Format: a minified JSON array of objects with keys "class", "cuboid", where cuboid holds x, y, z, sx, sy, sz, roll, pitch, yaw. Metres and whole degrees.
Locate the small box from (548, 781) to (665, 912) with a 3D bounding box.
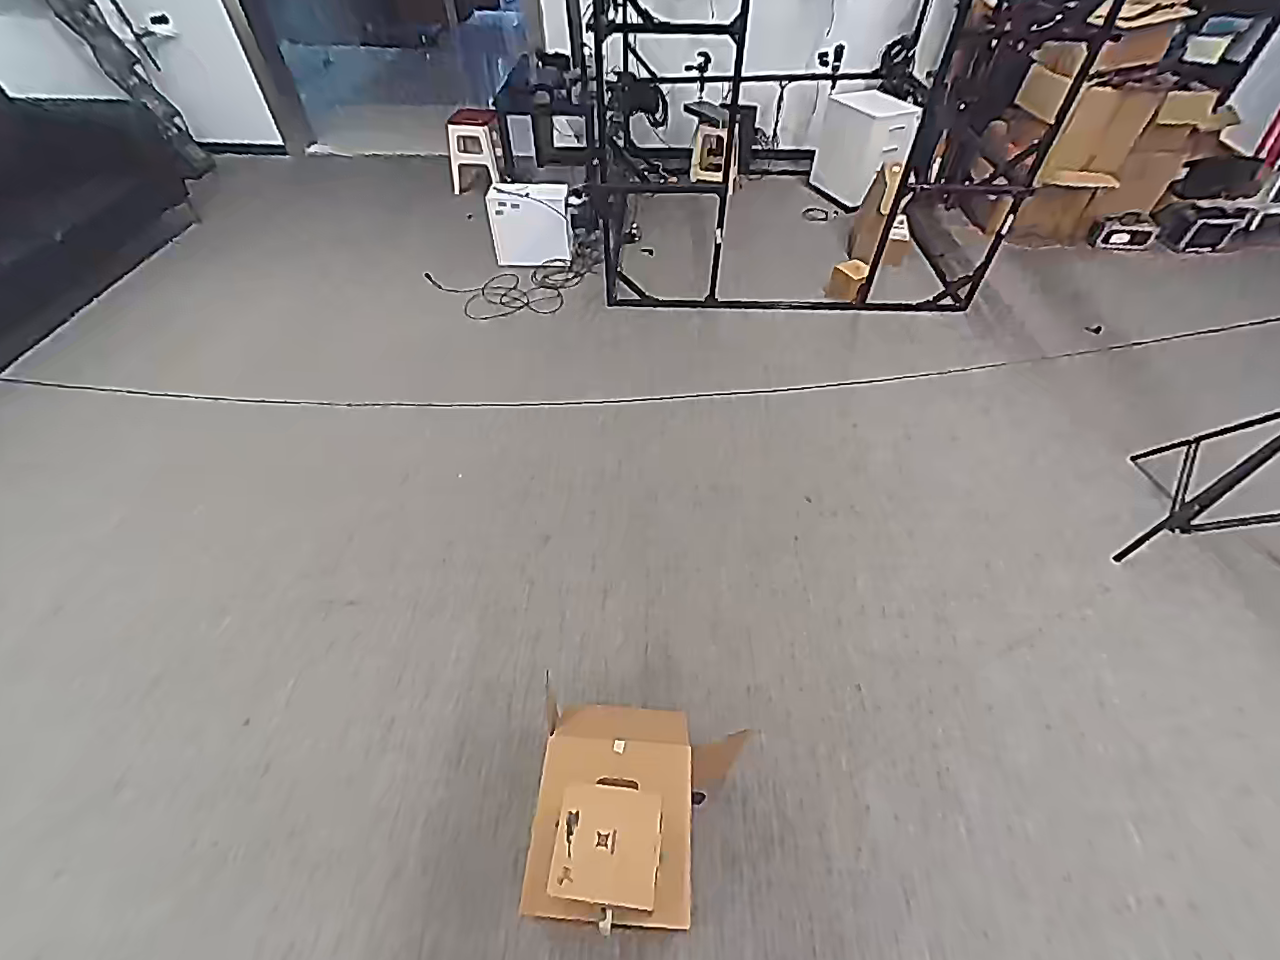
[{"class":"small box","cuboid":[-0.053,0.661,0.974,0.179,0.176,0.168,6,50,4]}]
